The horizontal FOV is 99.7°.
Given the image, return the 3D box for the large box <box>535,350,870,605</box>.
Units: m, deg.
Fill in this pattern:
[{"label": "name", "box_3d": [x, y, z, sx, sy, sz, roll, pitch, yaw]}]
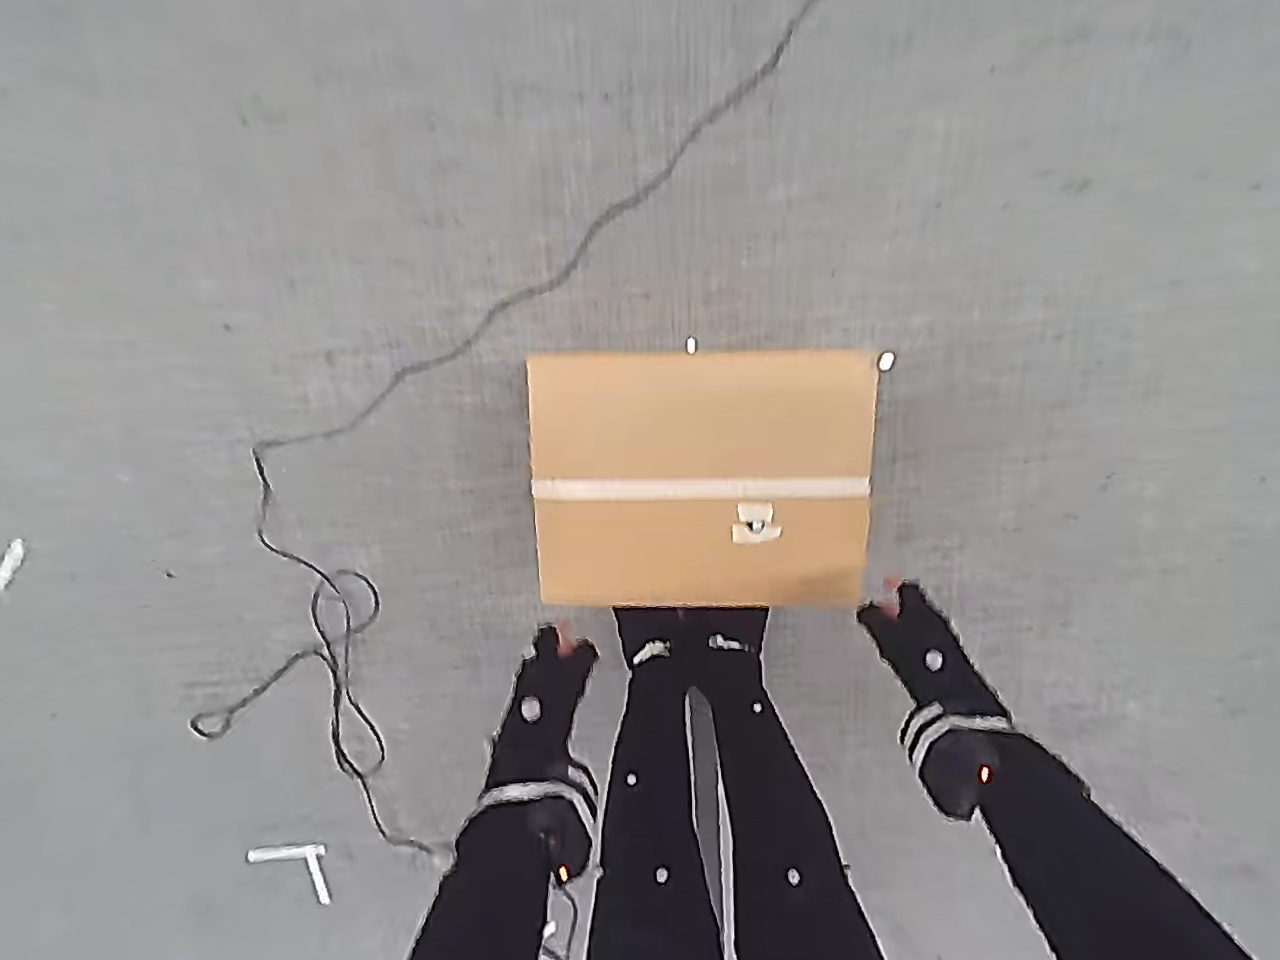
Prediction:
[{"label": "large box", "box_3d": [0.078, -0.023, 0.811, 0.408, 0.320, 0.320, -1, 102, 1]}]
